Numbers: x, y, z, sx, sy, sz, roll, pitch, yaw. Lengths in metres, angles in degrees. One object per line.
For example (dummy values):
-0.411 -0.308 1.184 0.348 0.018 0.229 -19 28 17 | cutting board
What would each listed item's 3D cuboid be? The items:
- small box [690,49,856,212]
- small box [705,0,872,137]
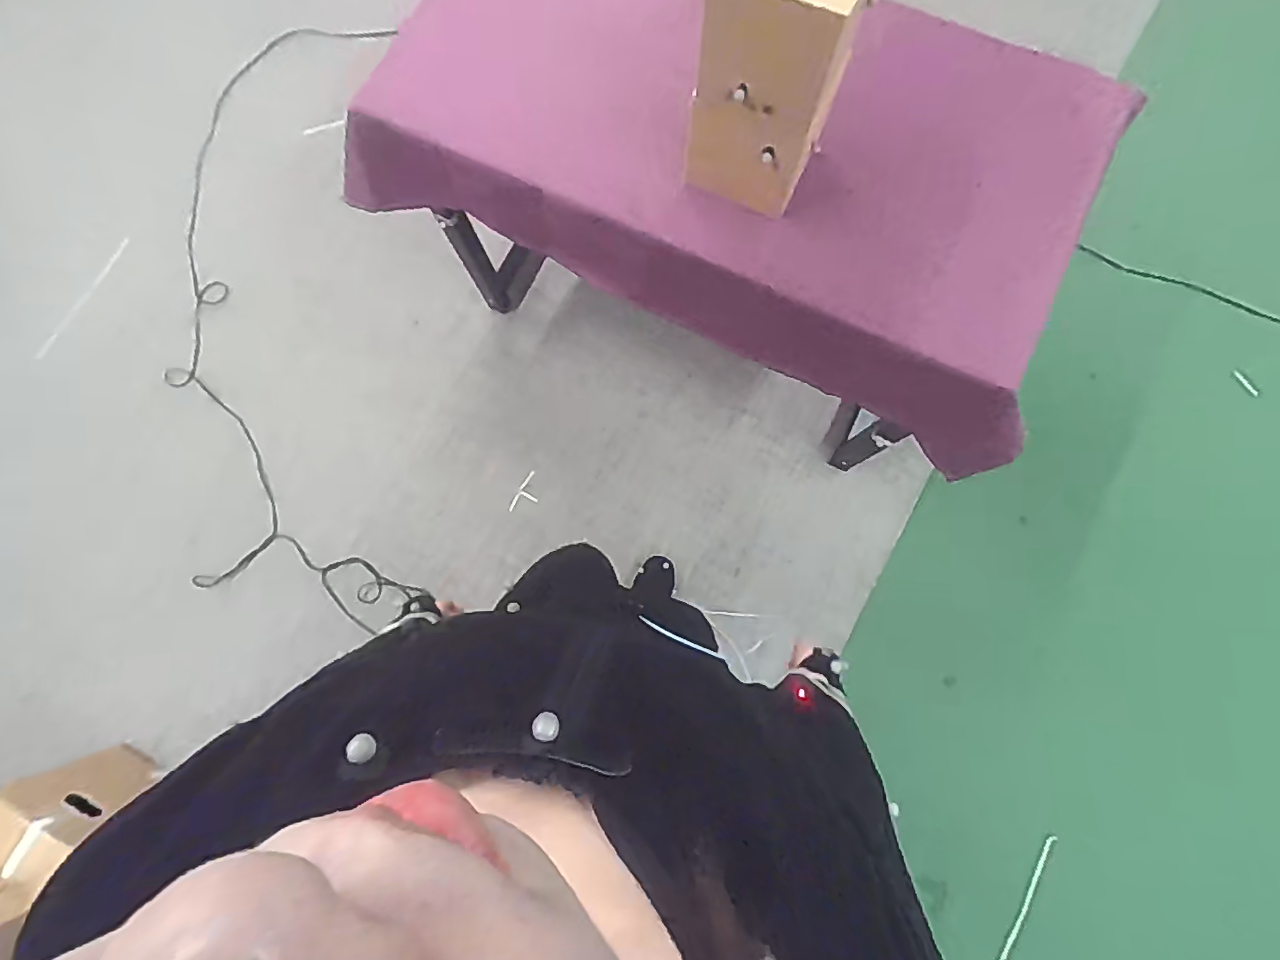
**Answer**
0.191 -0.550 0.828 0.179 0.176 0.168 26 81 5 | small box
0.188 -0.581 0.668 0.168 0.176 0.179 25 82 6 | small box
